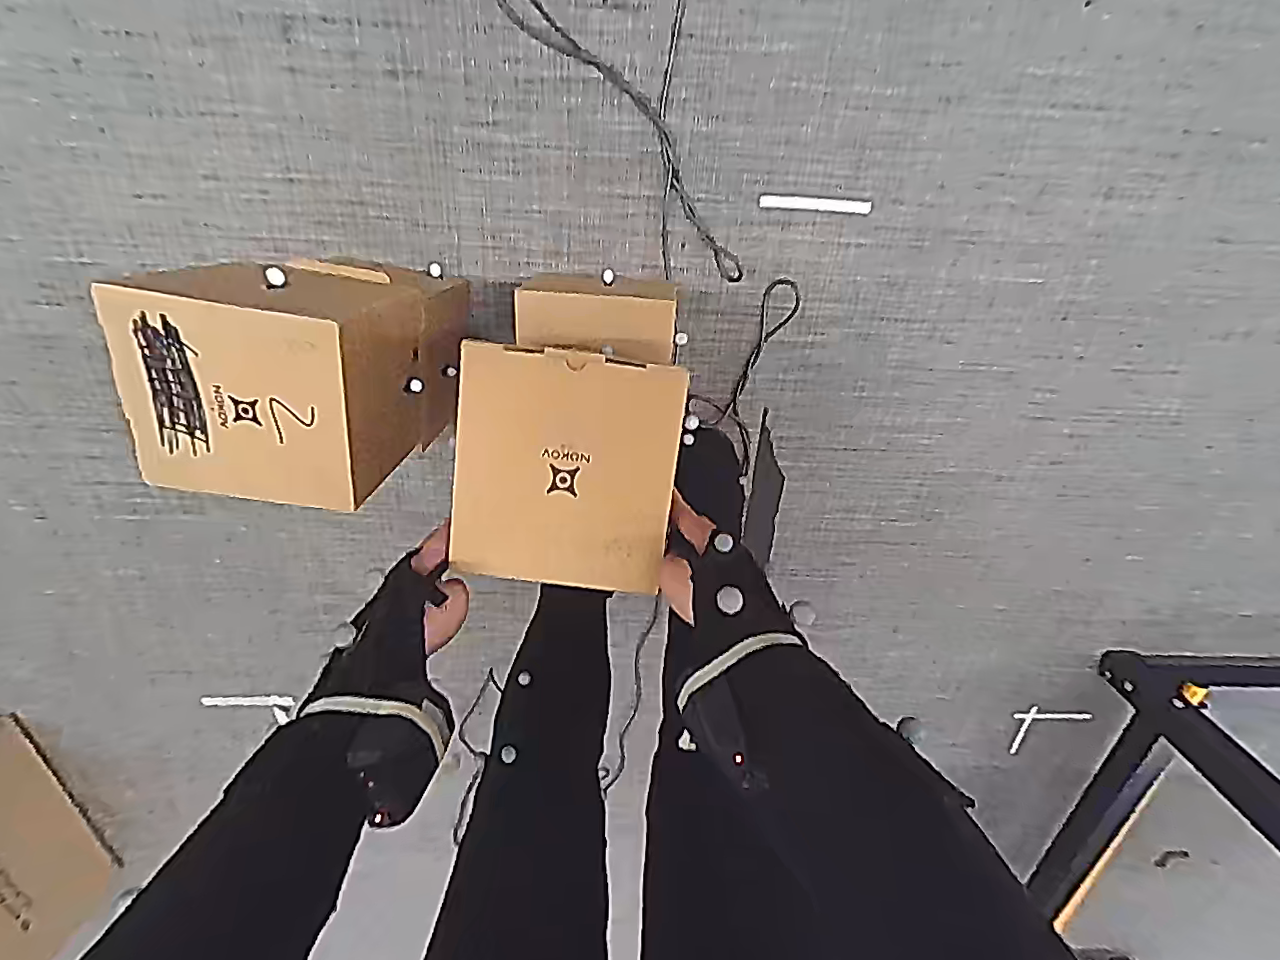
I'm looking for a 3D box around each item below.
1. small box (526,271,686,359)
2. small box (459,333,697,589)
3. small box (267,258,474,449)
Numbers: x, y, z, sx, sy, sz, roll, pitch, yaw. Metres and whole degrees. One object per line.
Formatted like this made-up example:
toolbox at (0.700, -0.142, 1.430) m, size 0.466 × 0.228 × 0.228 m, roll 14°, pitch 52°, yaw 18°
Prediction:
small box at (-0.040, -0.150, 0.653) m, size 0.168 × 0.176 × 0.179 m, roll 5°, pitch 116°, yaw 0°
small box at (-0.047, -0.024, 0.478) m, size 0.168 × 0.176 × 0.179 m, roll 7°, pitch 99°, yaw 0°
small box at (-0.305, -0.160, 0.650) m, size 0.168 × 0.176 × 0.179 m, roll 9°, pitch 117°, yaw -4°
